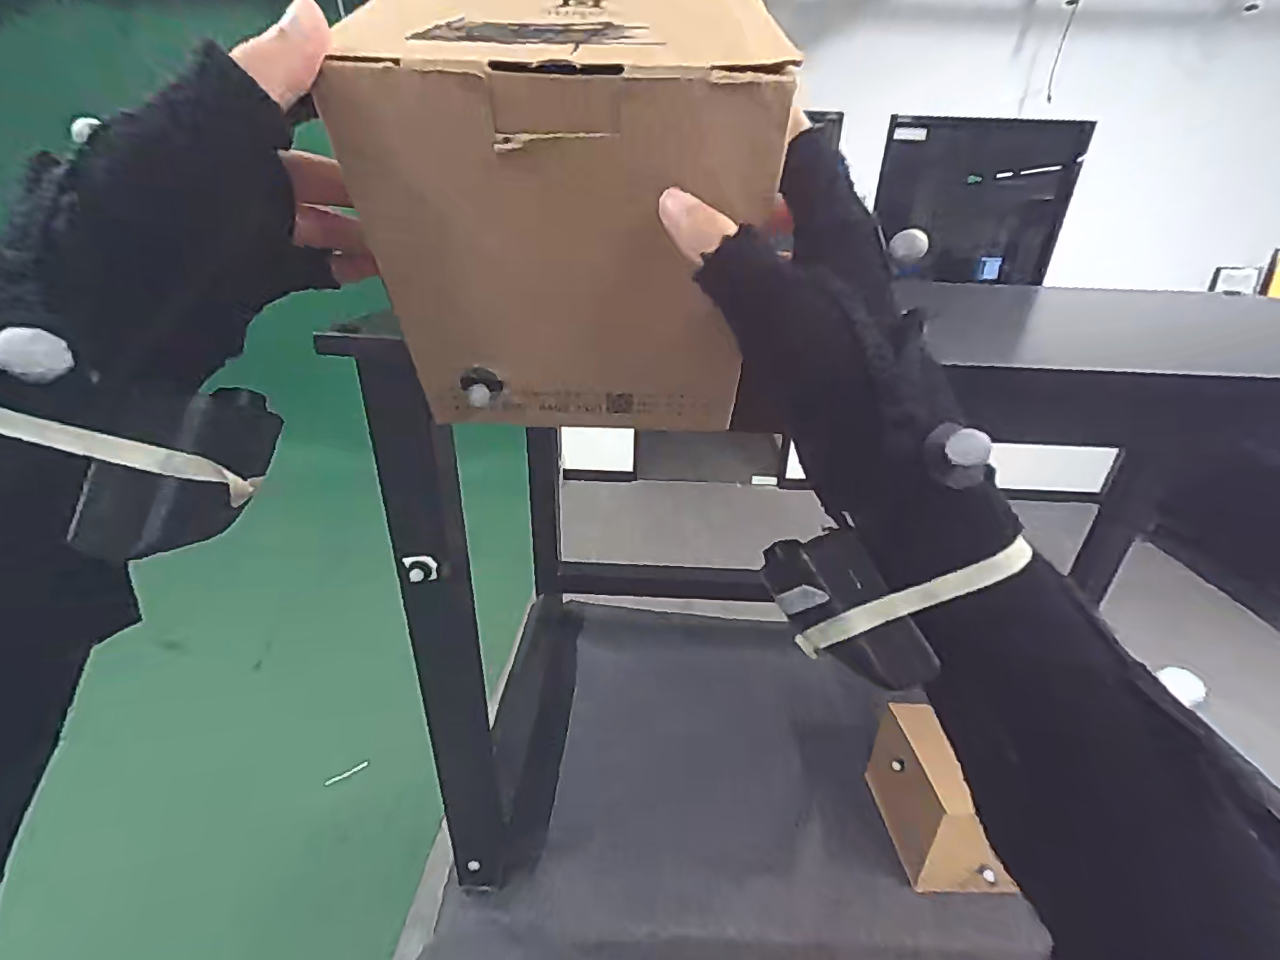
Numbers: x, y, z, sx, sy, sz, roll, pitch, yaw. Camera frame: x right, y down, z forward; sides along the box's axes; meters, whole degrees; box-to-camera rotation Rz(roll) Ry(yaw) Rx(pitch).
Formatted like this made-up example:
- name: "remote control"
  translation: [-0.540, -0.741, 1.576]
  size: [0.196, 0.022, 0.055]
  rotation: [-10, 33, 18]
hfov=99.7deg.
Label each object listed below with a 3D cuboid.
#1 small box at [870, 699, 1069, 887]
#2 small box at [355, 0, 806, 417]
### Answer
- name: "small box"
  translation: [0.460, 0.450, 0.791]
  size: [0.168, 0.176, 0.179]
  rotation: [1, 25, -1]
- name: "small box"
  translation: [-0.021, -0.151, 0.305]
  size: [0.168, 0.176, 0.179]
  rotation: [2, 49, -1]
